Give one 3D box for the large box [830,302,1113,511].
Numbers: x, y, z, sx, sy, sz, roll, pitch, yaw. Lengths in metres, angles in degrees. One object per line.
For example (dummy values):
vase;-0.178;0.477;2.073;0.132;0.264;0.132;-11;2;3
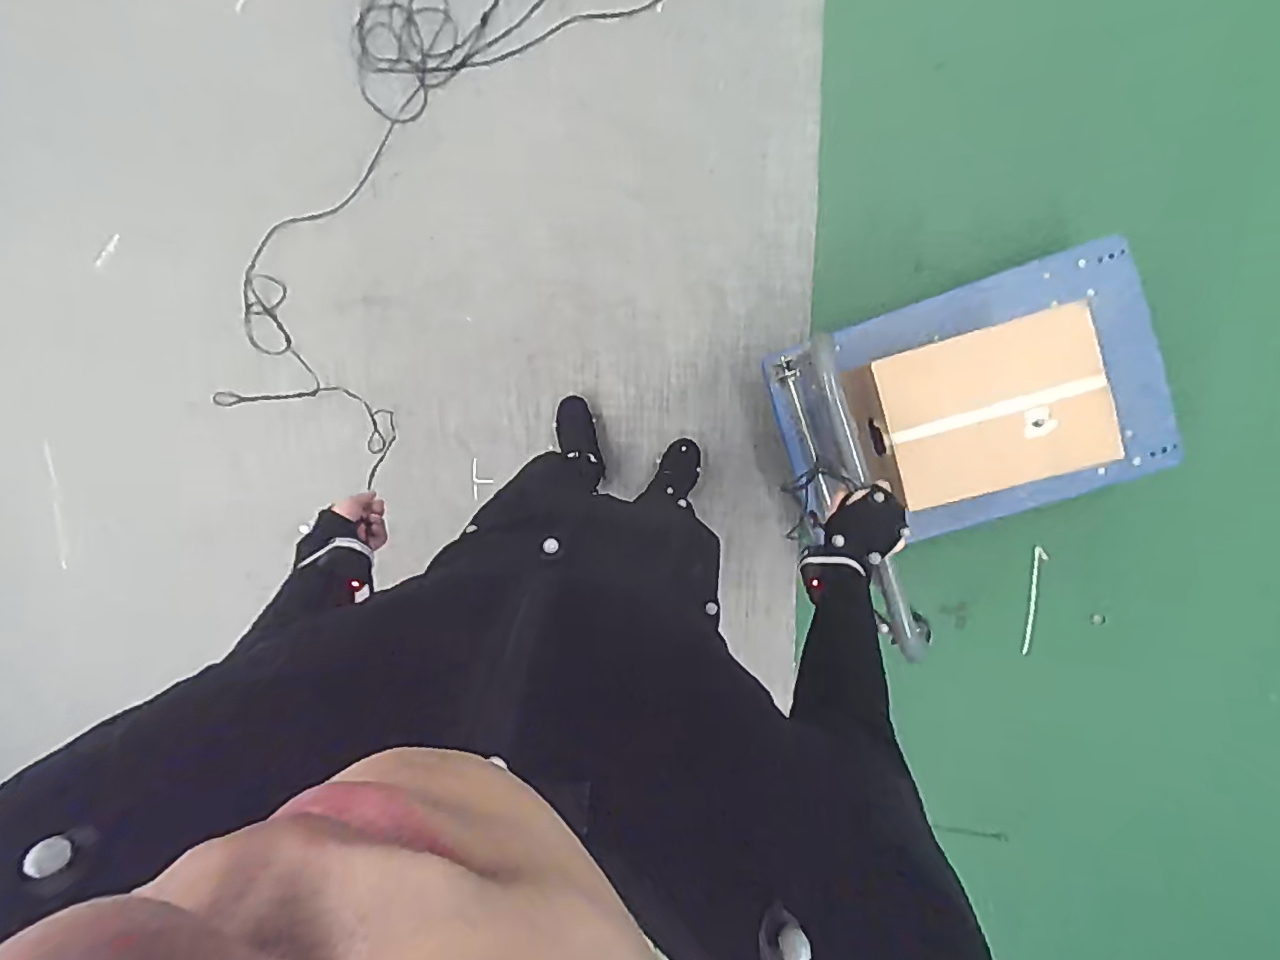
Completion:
large box;0.688;-0.149;1.193;0.408;0.320;0.320;-15;95;7
